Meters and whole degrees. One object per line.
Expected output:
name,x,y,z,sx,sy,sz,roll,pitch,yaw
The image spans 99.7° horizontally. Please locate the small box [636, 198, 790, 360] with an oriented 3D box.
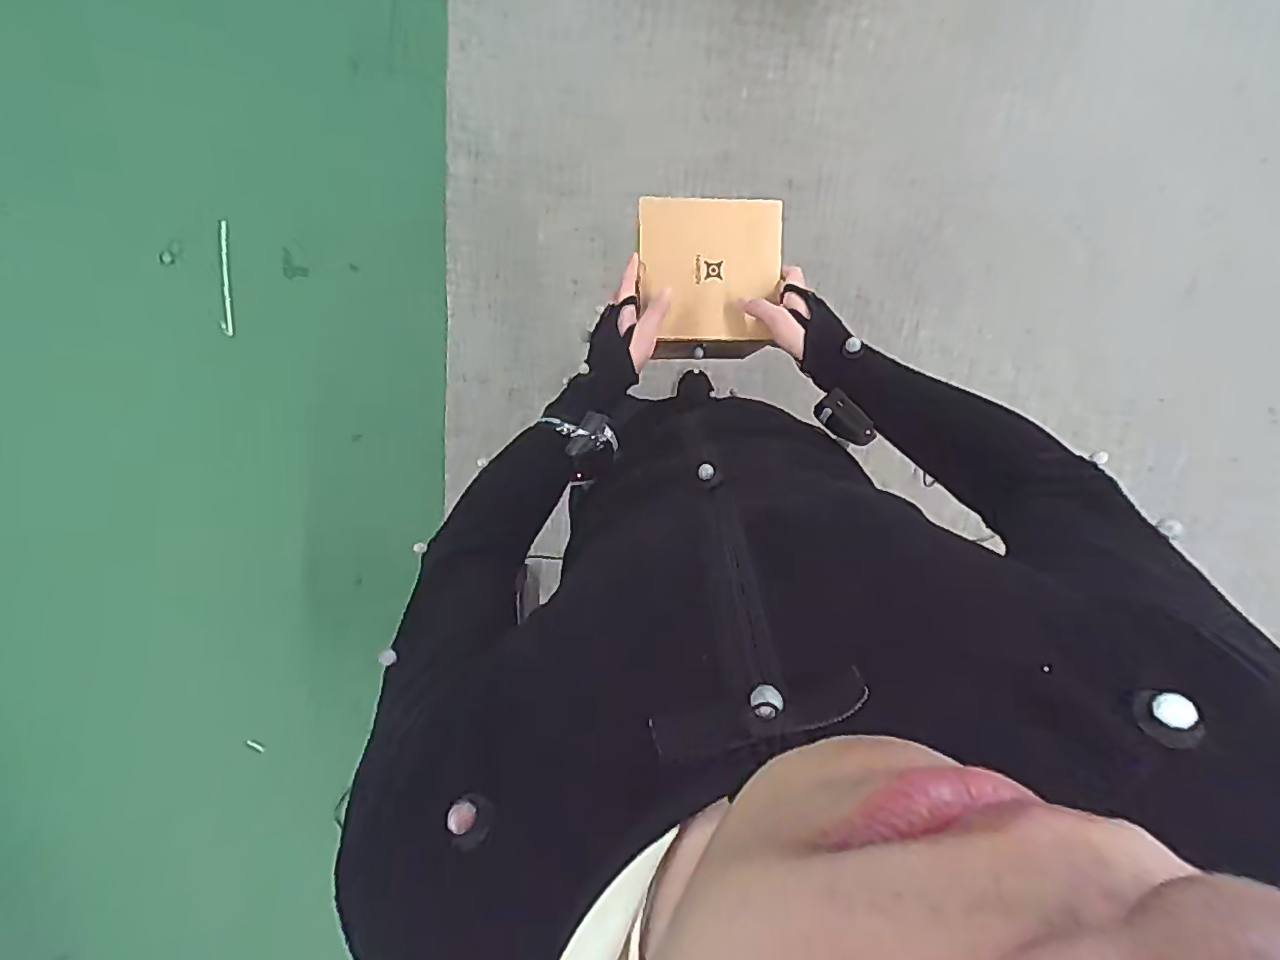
small box,0.086,-0.255,0.720,0.179,0.176,0.168,0,95,-2
